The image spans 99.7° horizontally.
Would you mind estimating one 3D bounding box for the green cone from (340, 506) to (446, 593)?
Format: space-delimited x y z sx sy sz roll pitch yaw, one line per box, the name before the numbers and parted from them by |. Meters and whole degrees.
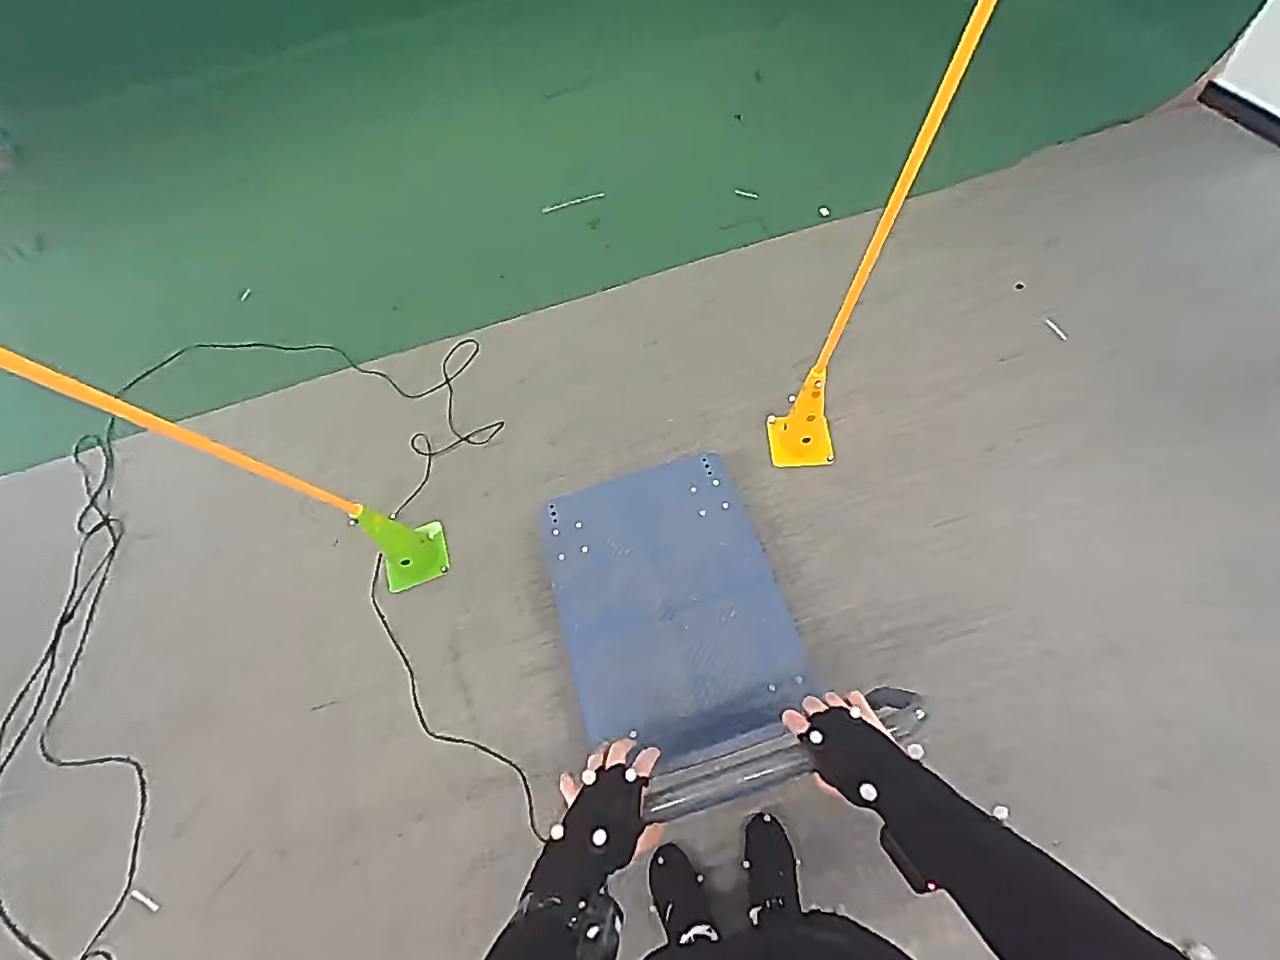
green cone | -0.762 0.166 1.610 0.202 0.368 0.200 -22 60 -4
